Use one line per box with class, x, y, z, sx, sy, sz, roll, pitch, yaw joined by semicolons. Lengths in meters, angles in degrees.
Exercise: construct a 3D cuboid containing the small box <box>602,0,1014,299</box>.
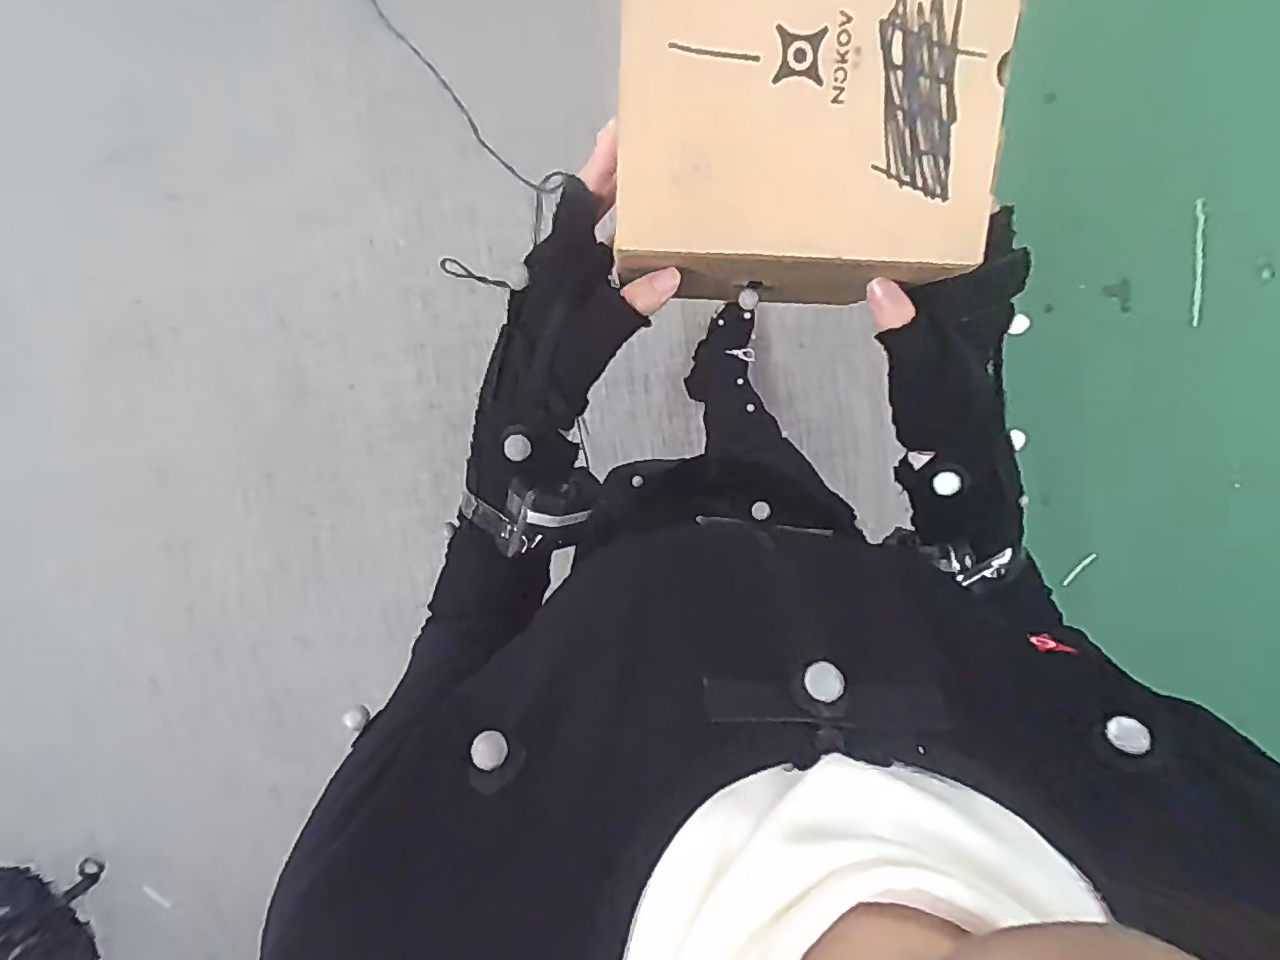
small box;0.073;-0.204;0.315;0.179;0.176;0.168;4;101;-1
